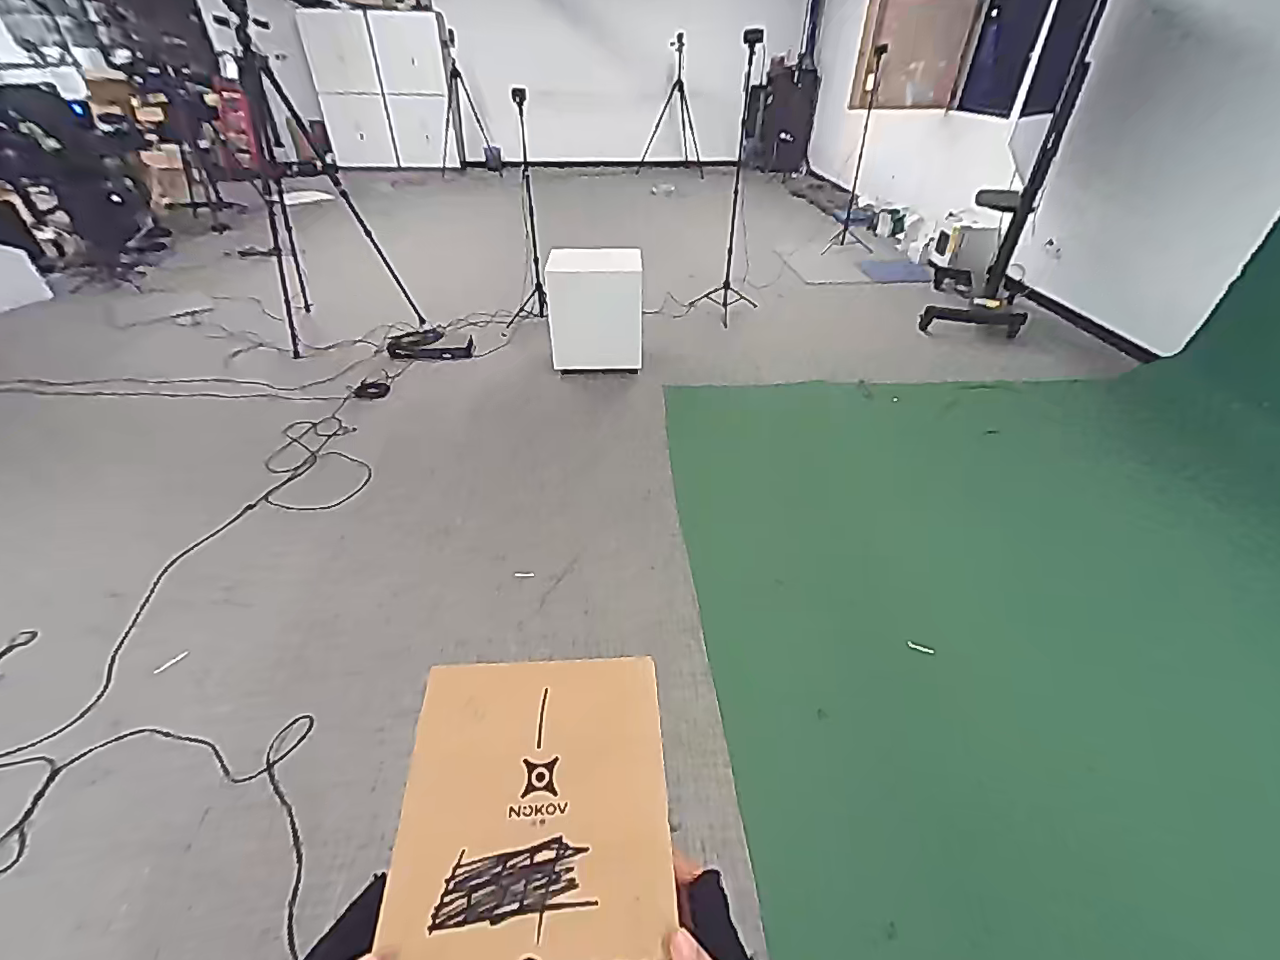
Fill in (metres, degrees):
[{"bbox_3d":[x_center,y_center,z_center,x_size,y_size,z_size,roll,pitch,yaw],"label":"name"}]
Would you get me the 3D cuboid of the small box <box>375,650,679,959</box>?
[{"bbox_3d":[-0.066,0.246,0.400,0.168,0.176,0.179,0,46,-5],"label":"small box"}]
